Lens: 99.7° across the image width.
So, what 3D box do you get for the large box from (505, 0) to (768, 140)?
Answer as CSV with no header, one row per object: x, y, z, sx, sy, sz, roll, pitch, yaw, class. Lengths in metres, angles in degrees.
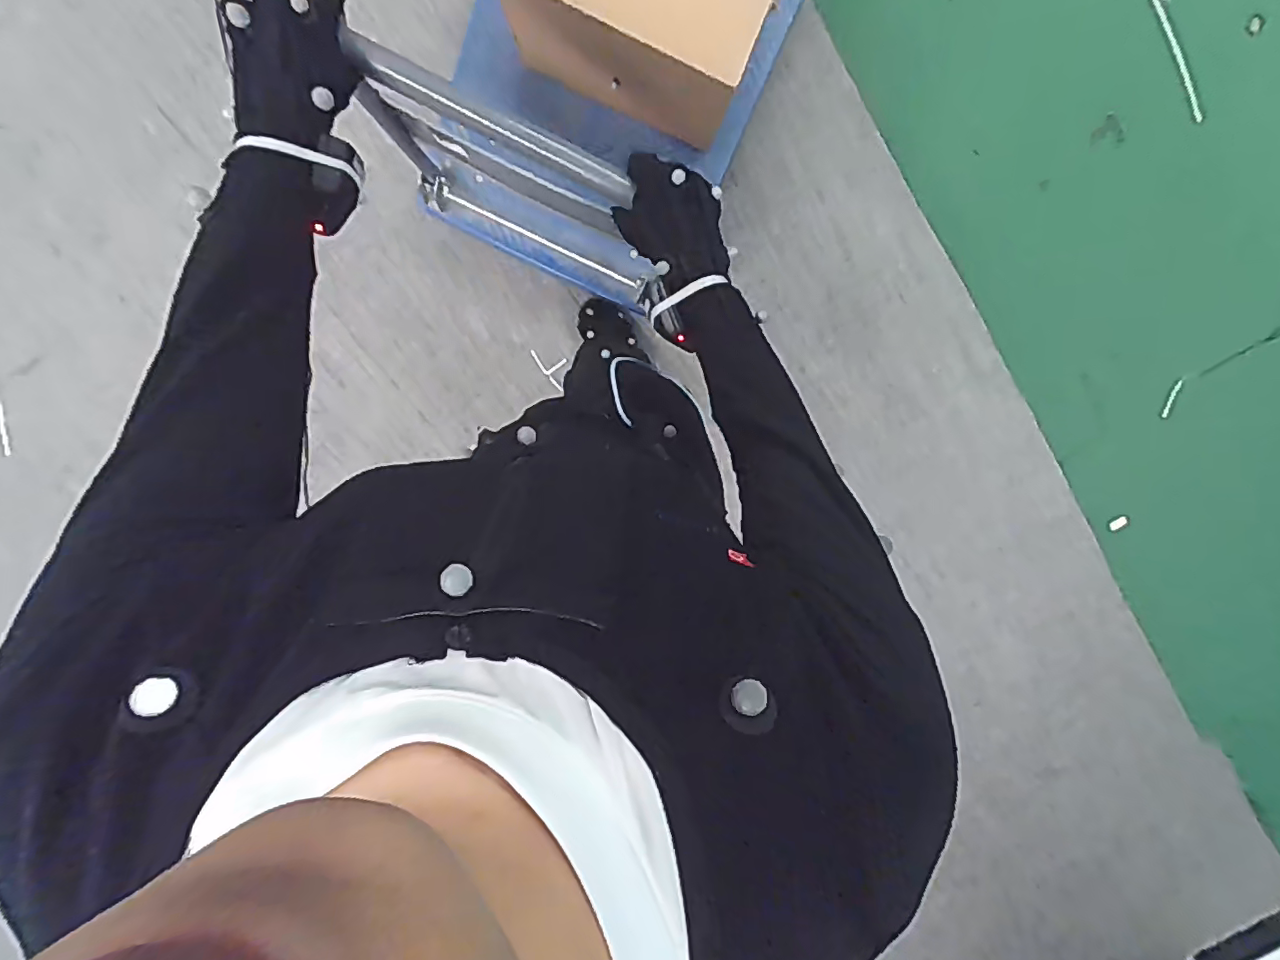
0.017,-0.860,0.919,0.408,0.320,0.320,21,103,-7,large box
